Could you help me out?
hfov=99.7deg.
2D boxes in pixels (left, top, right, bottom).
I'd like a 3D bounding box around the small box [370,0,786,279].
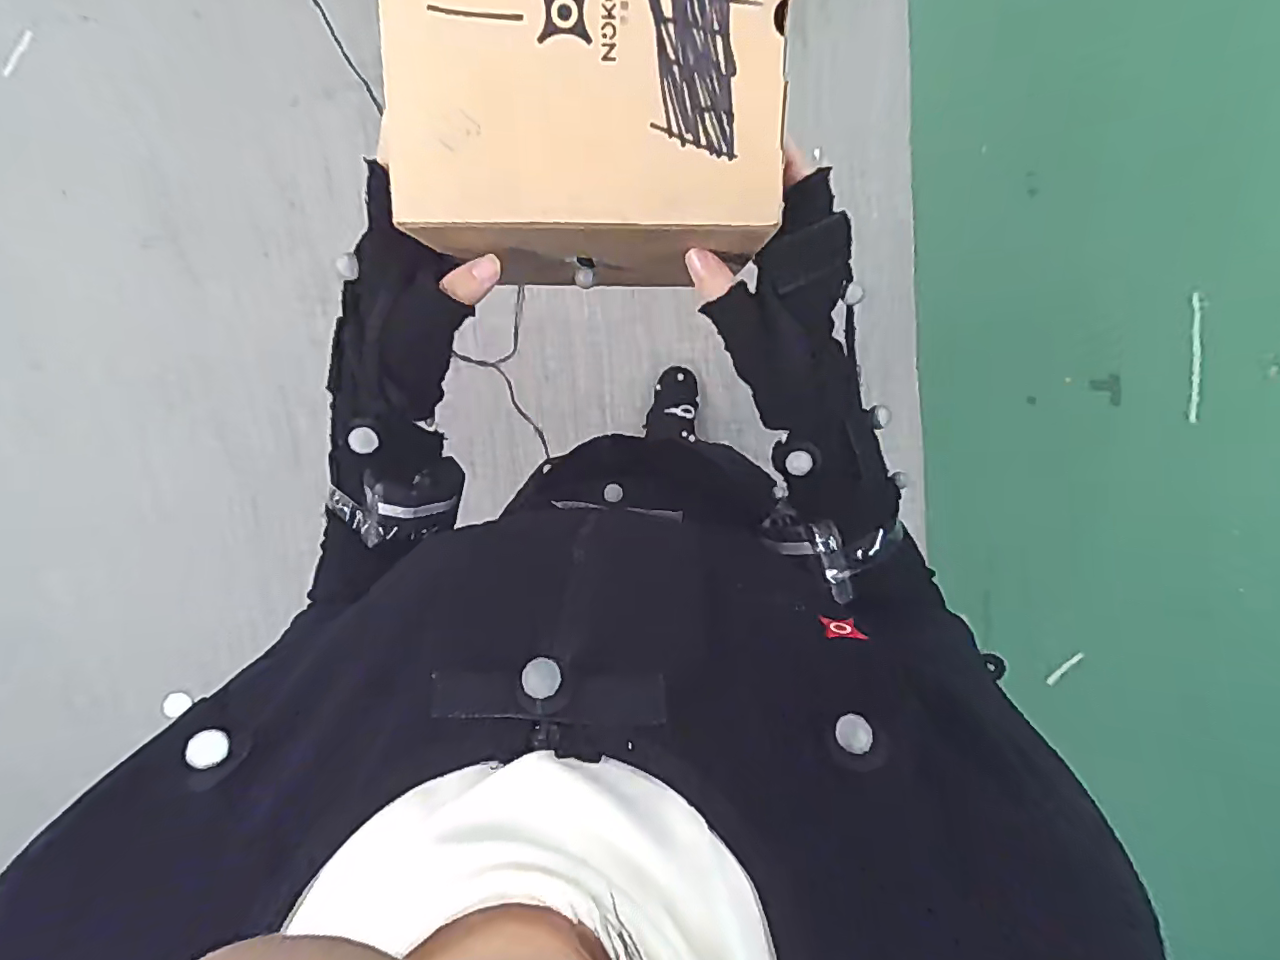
[{"bbox_3d":[-0.025,-0.214,0.302,0.179,0.176,0.168,2,101,1],"label":"small box"}]
